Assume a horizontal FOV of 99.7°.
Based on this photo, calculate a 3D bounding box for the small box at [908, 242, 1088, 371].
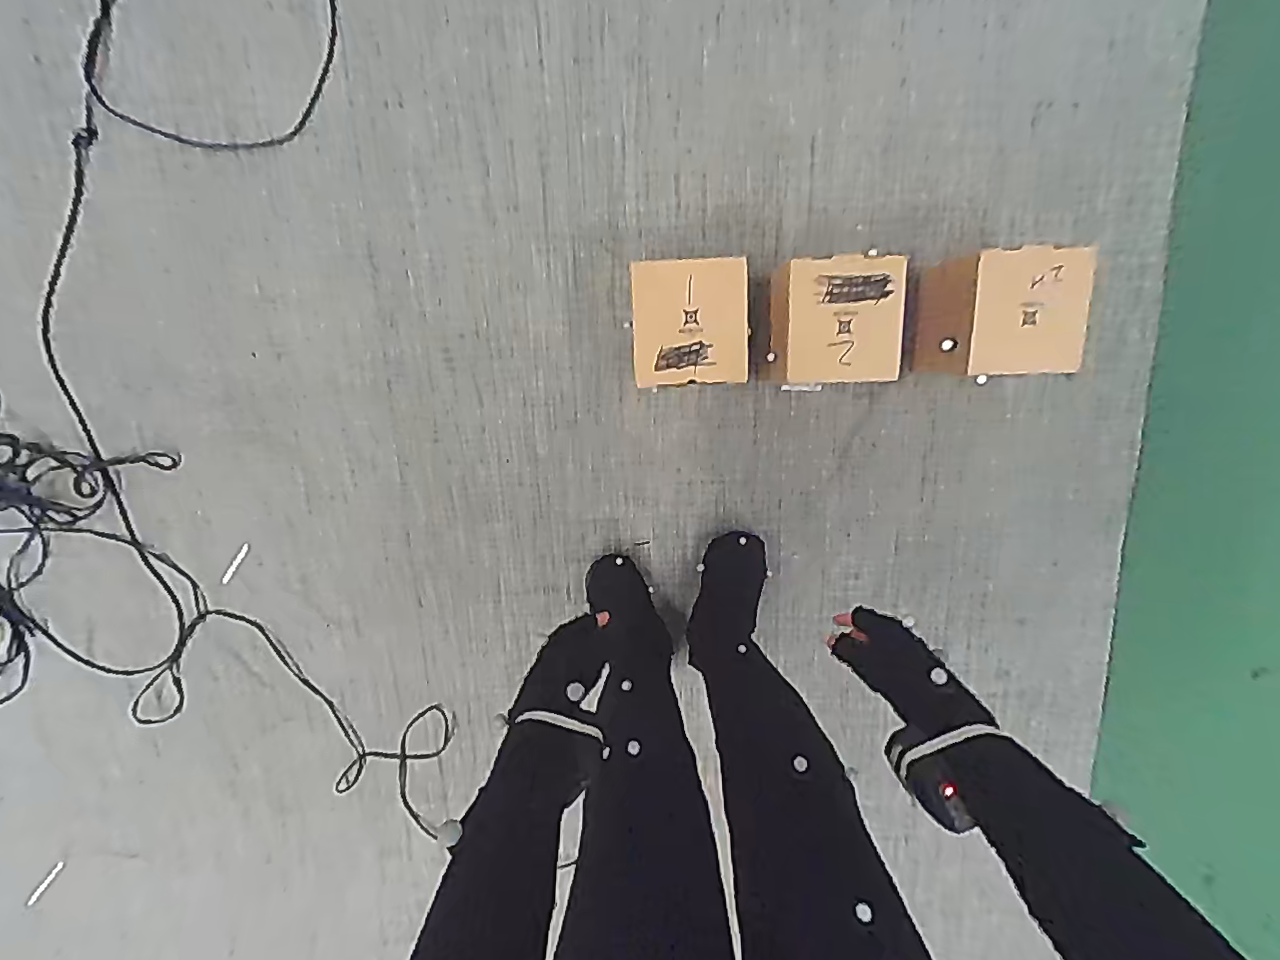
[{"bbox_3d":[0.544,-0.264,0.850,0.168,0.176,0.179,-2,102,0],"label":"small box"}]

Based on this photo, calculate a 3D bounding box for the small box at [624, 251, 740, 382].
[{"bbox_3d":[0.063,-0.249,0.850,0.168,0.176,0.179,-2,101,1],"label":"small box"}]
